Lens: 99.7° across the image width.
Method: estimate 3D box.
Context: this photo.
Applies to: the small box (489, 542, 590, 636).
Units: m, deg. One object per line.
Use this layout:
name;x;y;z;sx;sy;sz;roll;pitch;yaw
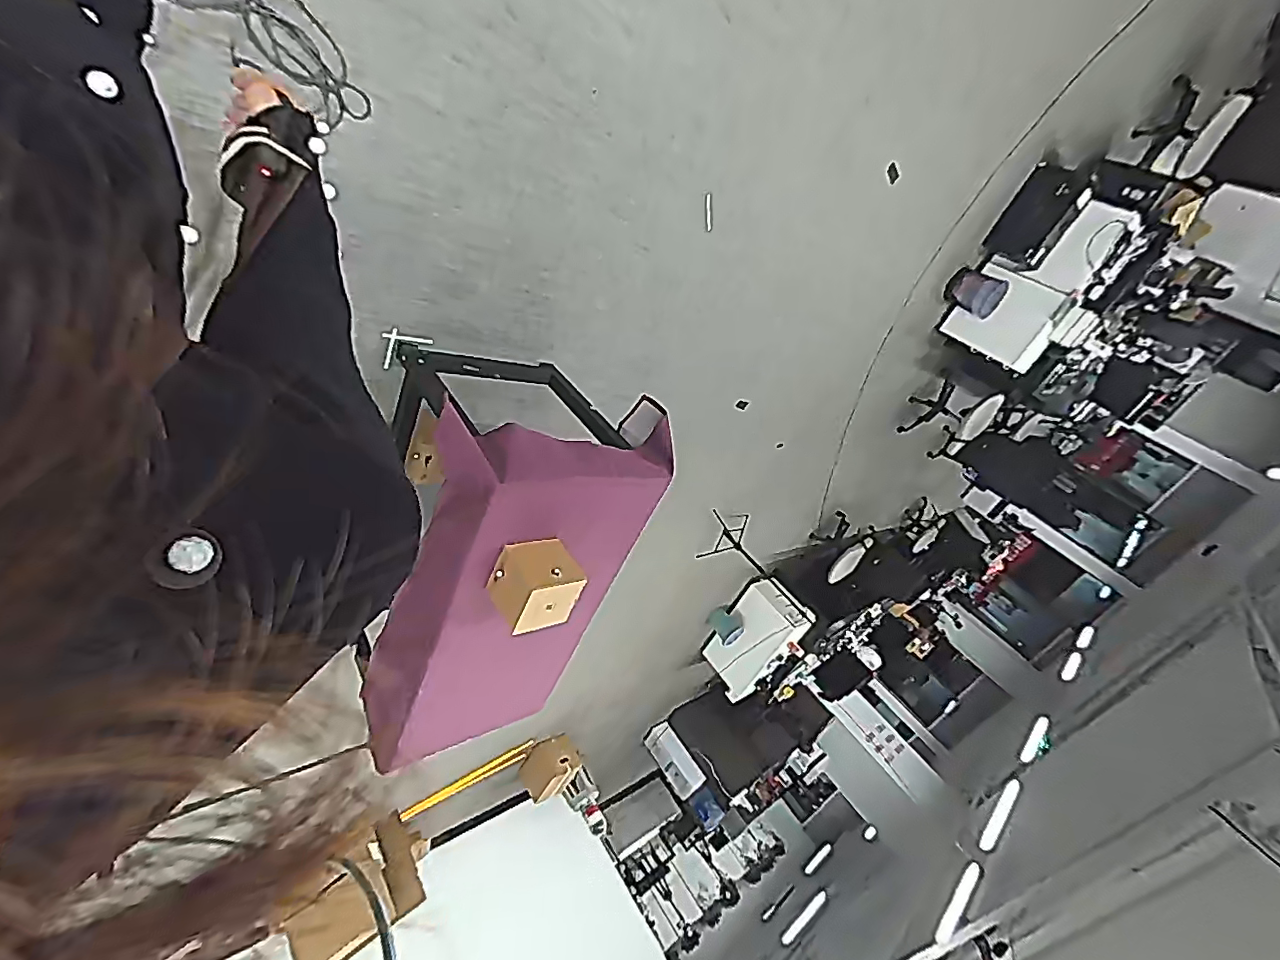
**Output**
small box;-0.270;0.281;1.435;0.179;0.176;0.168;-1;128;-45
